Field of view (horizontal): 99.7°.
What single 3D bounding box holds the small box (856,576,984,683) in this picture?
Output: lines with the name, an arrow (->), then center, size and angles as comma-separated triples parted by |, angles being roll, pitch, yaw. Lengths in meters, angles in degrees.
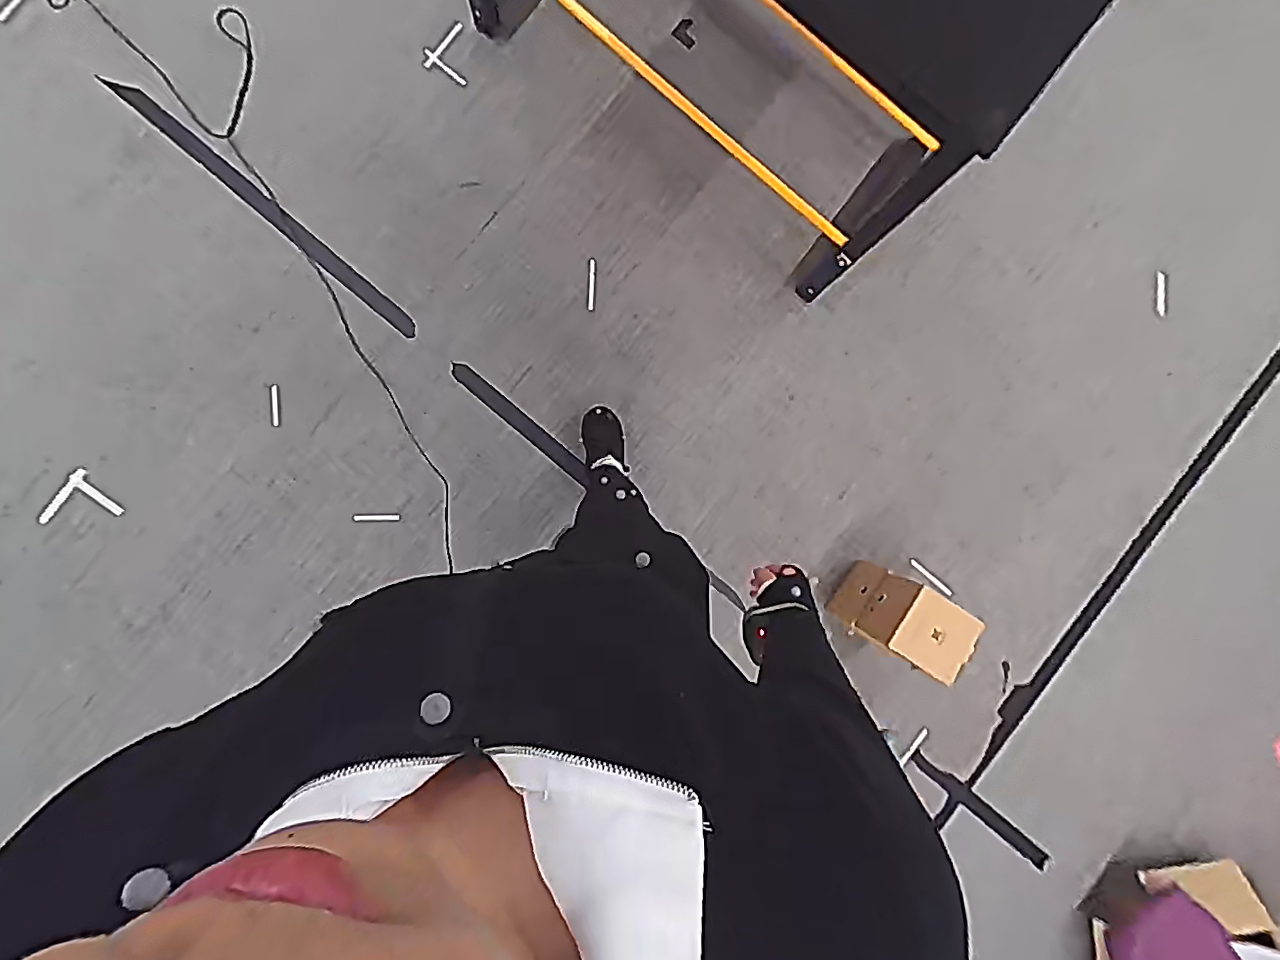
small box -> 0.660, 0.346, 1.294 | 0.179, 0.176, 0.168 | 33, 87, -2

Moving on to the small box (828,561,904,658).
small box -> 0.641, 0.339, 1.456 | 0.168, 0.176, 0.179 | 36, 88, -3
